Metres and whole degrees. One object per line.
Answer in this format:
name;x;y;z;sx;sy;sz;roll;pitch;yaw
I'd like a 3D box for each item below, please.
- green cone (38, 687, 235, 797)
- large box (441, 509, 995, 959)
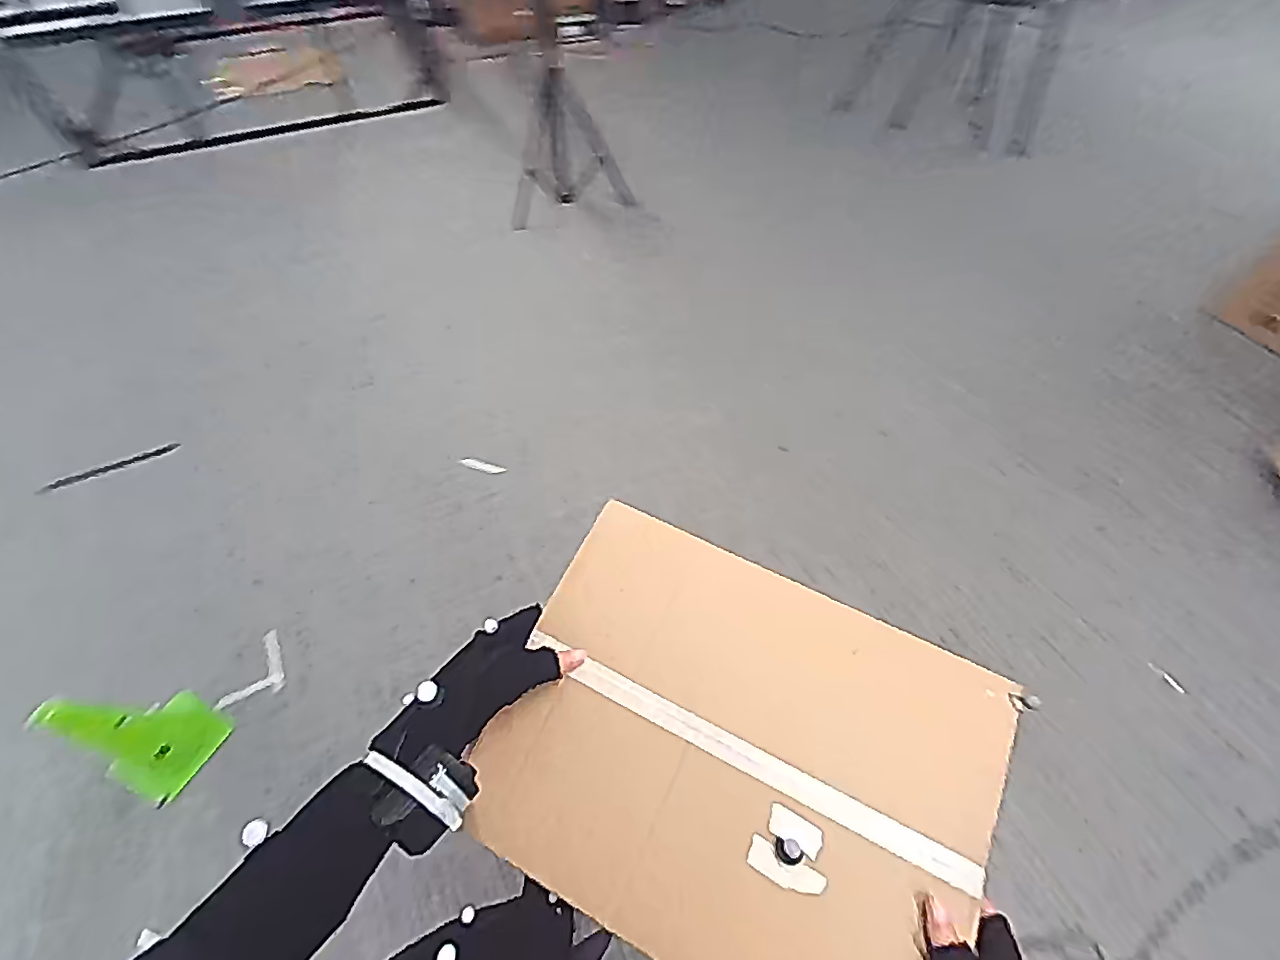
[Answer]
green cone;-1.135;0.531;1.189;0.202;0.368;0.200;22;56;16
large box;0.077;0.288;0.600;0.408;0.320;0.320;23;69;13
